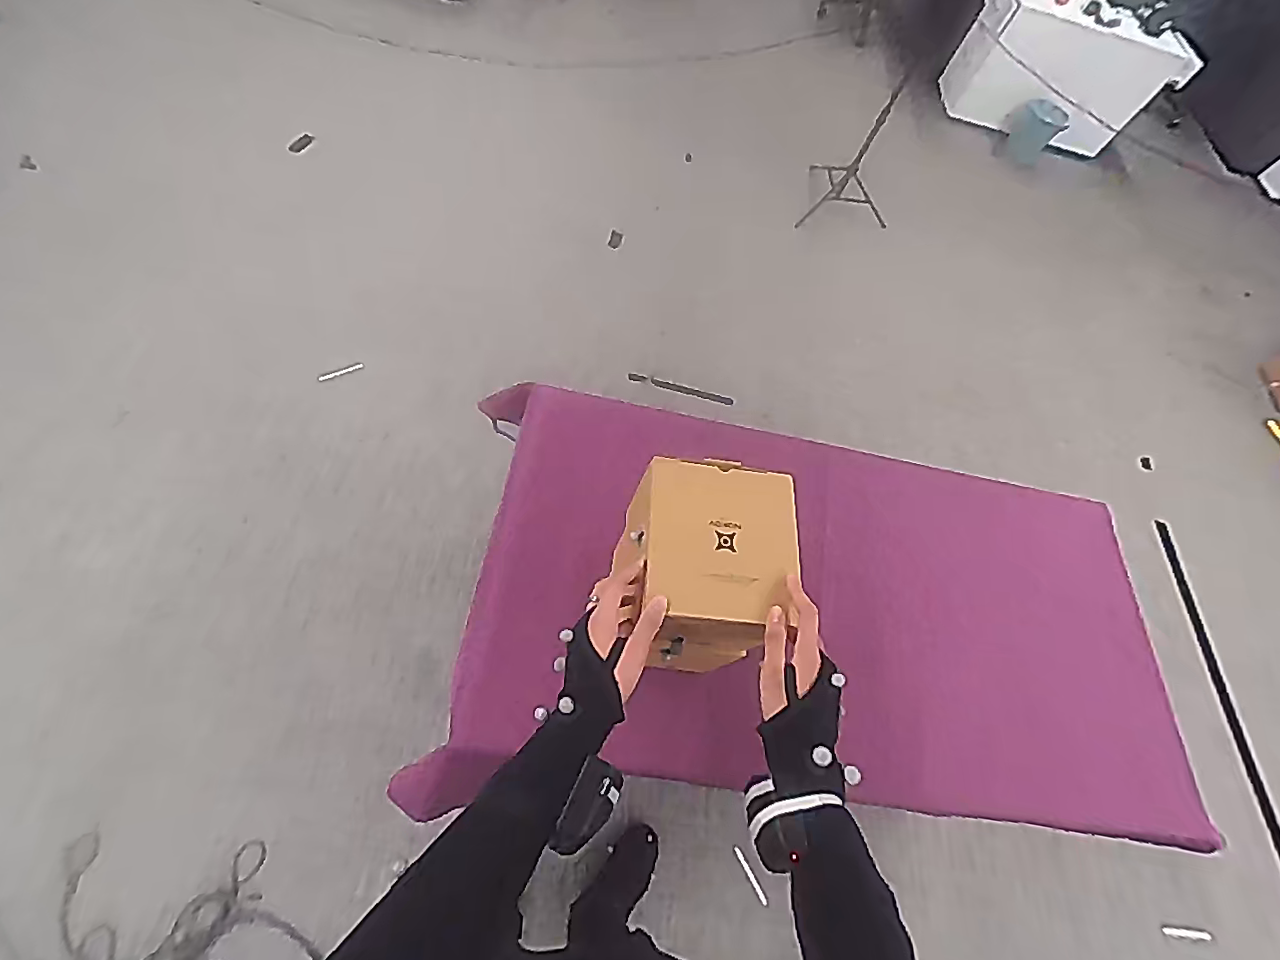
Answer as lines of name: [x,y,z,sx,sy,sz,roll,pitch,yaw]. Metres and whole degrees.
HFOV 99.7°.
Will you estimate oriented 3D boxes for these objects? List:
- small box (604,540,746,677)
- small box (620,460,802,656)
small box: [0.047,0.175,0.784,0.168,0.176,0.179,10,62,-8]
small box: [0.074,0.100,0.641,0.168,0.176,0.179,8,63,-8]
